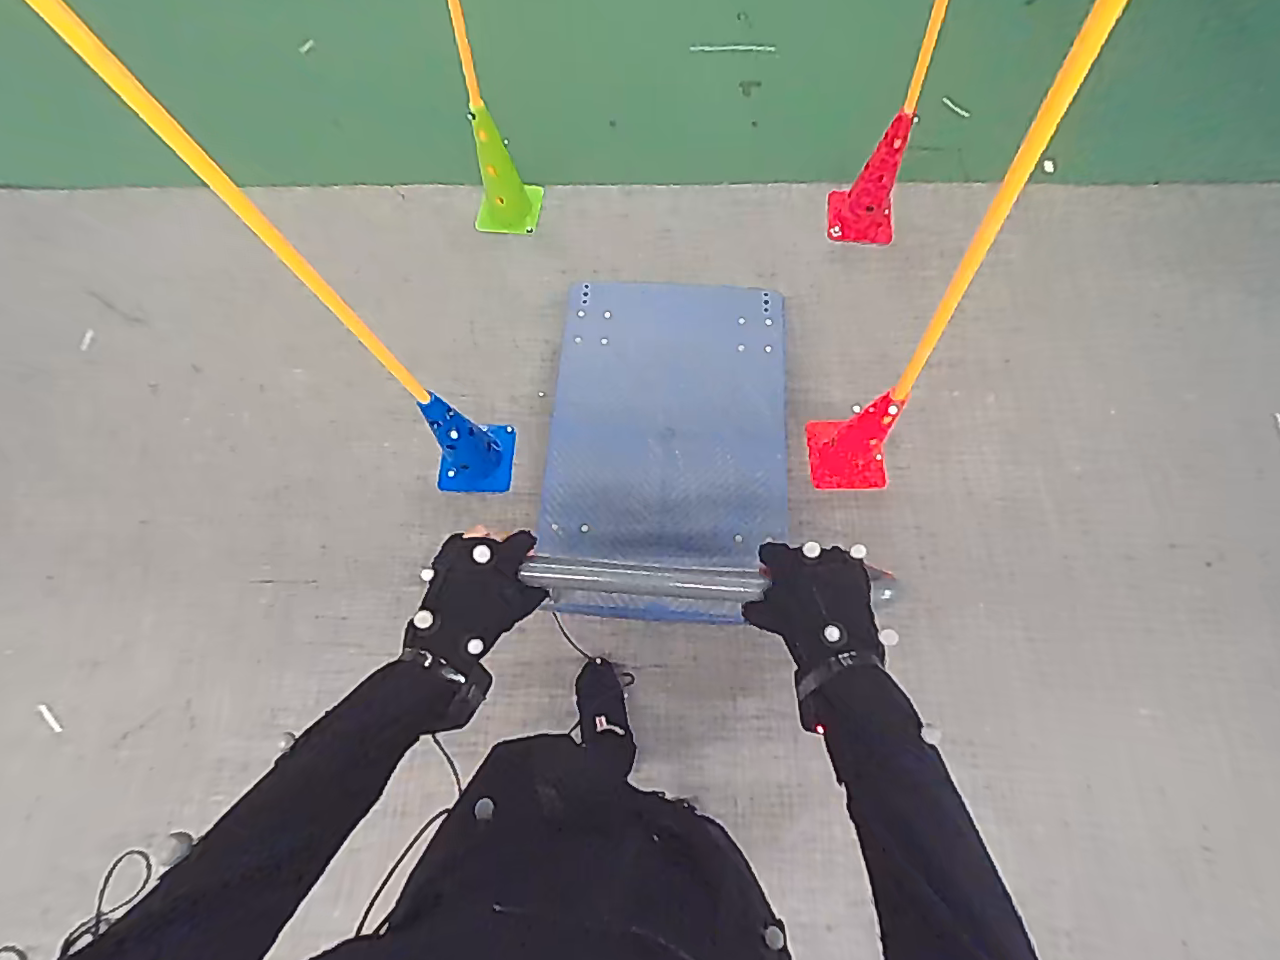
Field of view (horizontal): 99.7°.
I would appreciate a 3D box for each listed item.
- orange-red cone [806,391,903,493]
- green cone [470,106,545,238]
[{"bbox_3d":[0.551,-0.115,1.319,0.199,0.360,0.198,0,70,4],"label":"orange-red cone"},{"bbox_3d":[-0.429,-0.942,1.629,0.202,0.368,0.200,5,71,4],"label":"green cone"}]
